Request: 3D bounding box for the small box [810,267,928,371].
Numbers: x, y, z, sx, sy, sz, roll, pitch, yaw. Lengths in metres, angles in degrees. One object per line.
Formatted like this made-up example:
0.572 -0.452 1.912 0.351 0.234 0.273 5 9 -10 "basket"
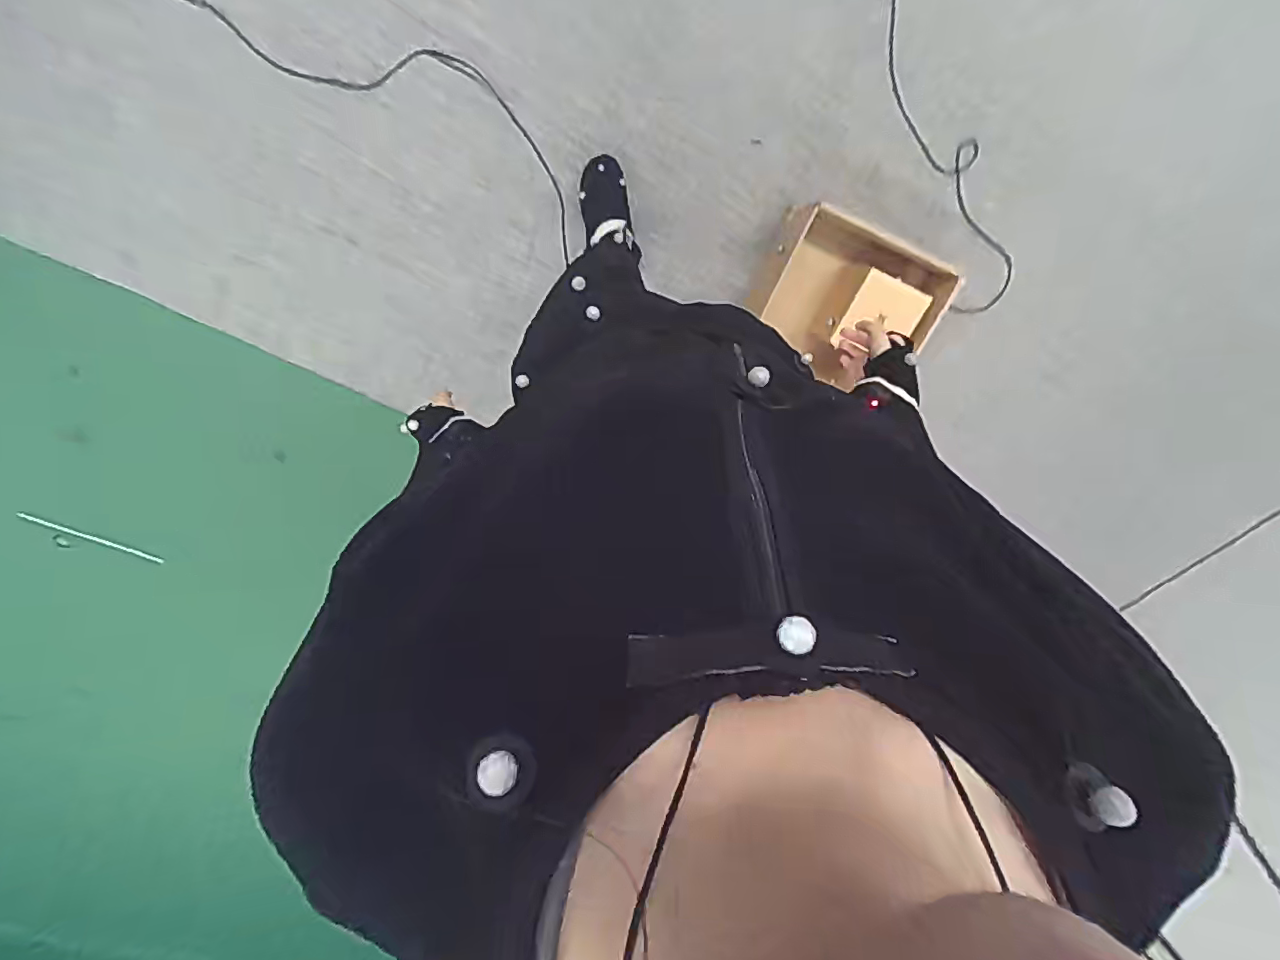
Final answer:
0.535 -0.391 1.293 0.168 0.176 0.179 20 115 -11 "small box"
